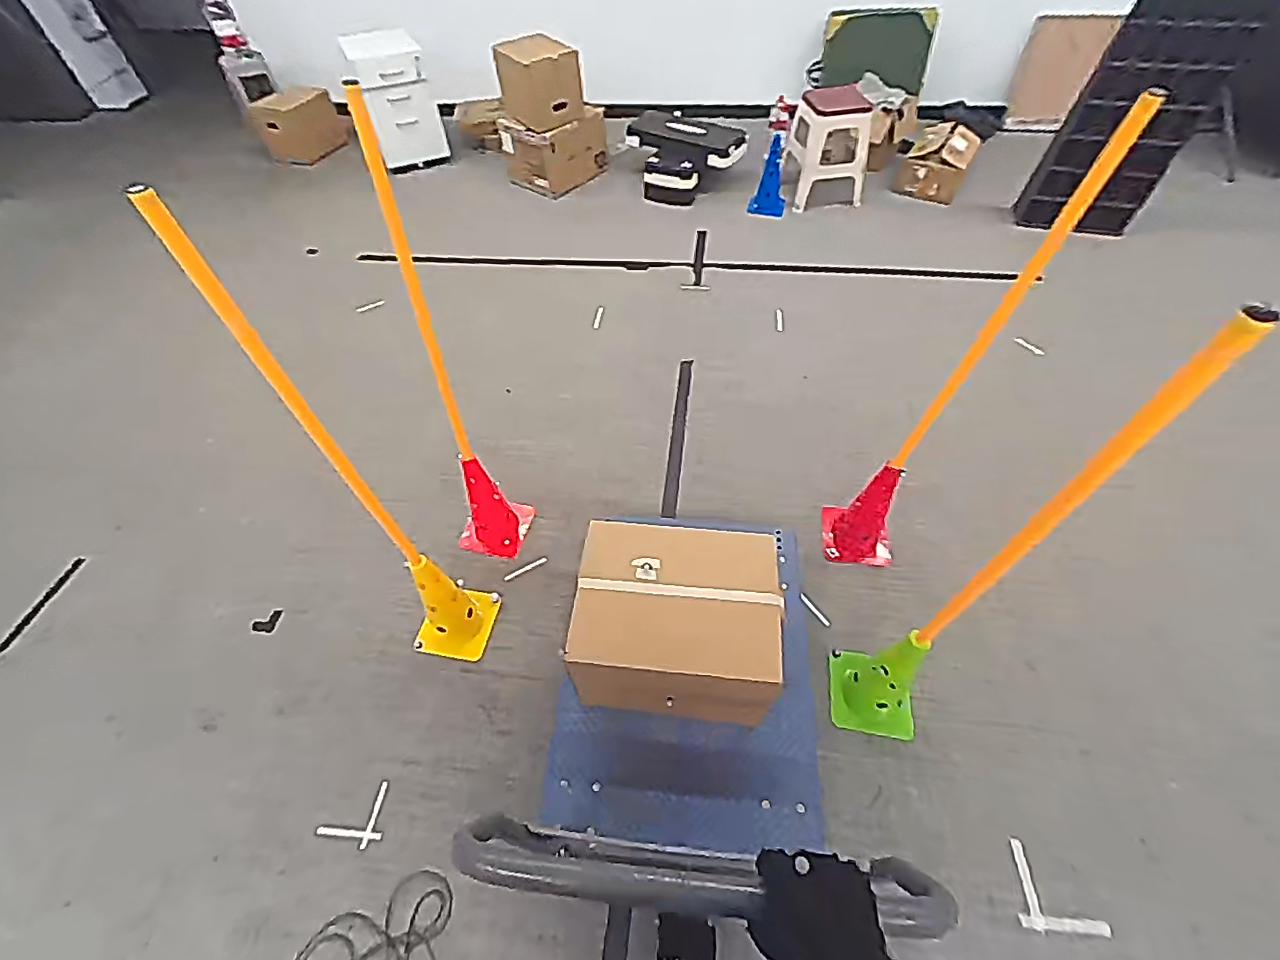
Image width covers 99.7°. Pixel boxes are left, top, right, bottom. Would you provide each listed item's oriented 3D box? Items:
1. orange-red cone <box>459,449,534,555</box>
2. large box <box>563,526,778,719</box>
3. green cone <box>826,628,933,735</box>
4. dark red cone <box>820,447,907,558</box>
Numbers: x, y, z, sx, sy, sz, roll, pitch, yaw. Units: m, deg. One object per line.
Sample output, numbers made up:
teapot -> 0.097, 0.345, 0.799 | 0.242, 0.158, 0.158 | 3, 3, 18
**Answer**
orange-red cone -> -0.464, 0.037, 1.618 | 0.198, 0.360, 0.199 | 11, 52, 9
large box -> 0.075, 0.321, 1.199 | 0.408, 0.320, 0.320 | 4, 53, 6
green cone -> 0.588, 0.439, 1.271 | 0.202, 0.368, 0.200 | 9, 53, 7
dark red cone -> 0.668, 0.049, 1.549 | 0.201, 0.394, 0.202 | 6, 53, 4
